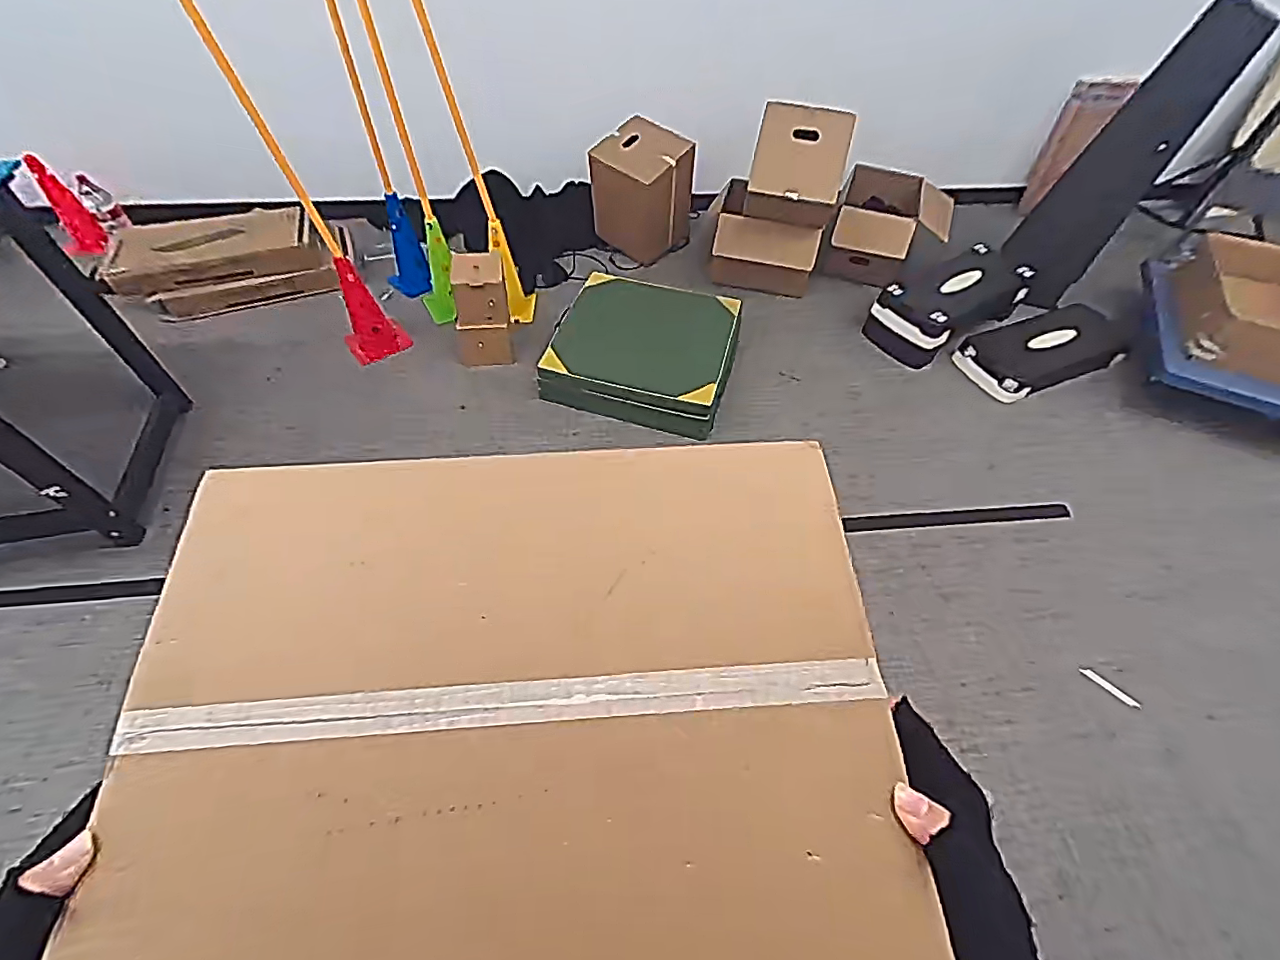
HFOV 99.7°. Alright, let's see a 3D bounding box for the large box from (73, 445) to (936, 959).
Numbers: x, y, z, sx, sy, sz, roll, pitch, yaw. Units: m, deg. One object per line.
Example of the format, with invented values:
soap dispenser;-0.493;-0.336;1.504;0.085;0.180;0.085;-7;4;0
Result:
large box;-0.072;0.191;0.435;0.408;0.320;0.320;-3;63;-2
